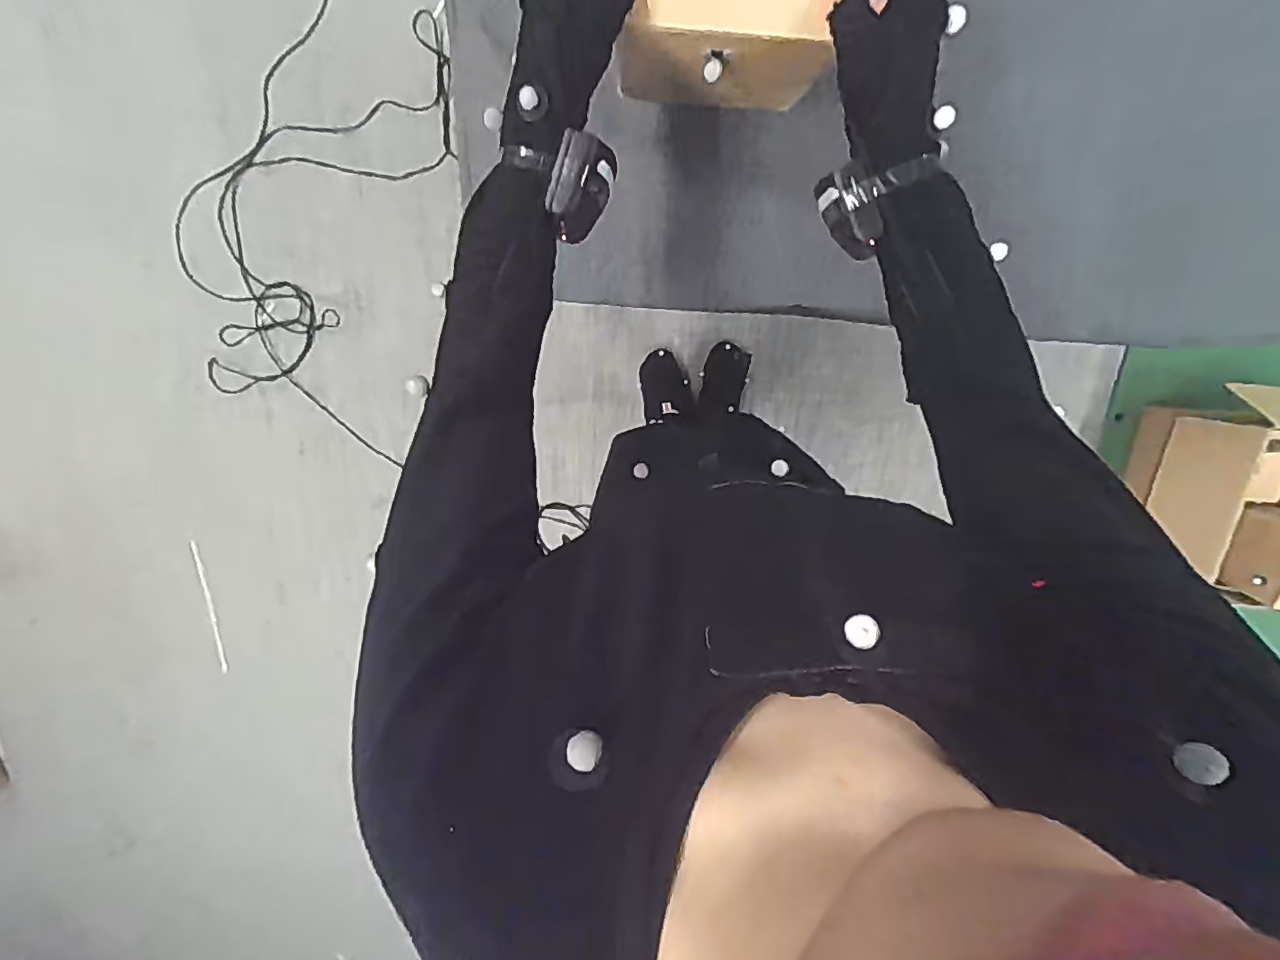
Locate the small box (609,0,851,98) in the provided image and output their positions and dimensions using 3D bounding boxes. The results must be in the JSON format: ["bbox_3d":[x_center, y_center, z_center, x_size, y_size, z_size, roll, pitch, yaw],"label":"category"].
[{"bbox_3d":[0.069,-0.435,0.440,0.179,0.176,0.168,3,110,0],"label":"small box"}]
